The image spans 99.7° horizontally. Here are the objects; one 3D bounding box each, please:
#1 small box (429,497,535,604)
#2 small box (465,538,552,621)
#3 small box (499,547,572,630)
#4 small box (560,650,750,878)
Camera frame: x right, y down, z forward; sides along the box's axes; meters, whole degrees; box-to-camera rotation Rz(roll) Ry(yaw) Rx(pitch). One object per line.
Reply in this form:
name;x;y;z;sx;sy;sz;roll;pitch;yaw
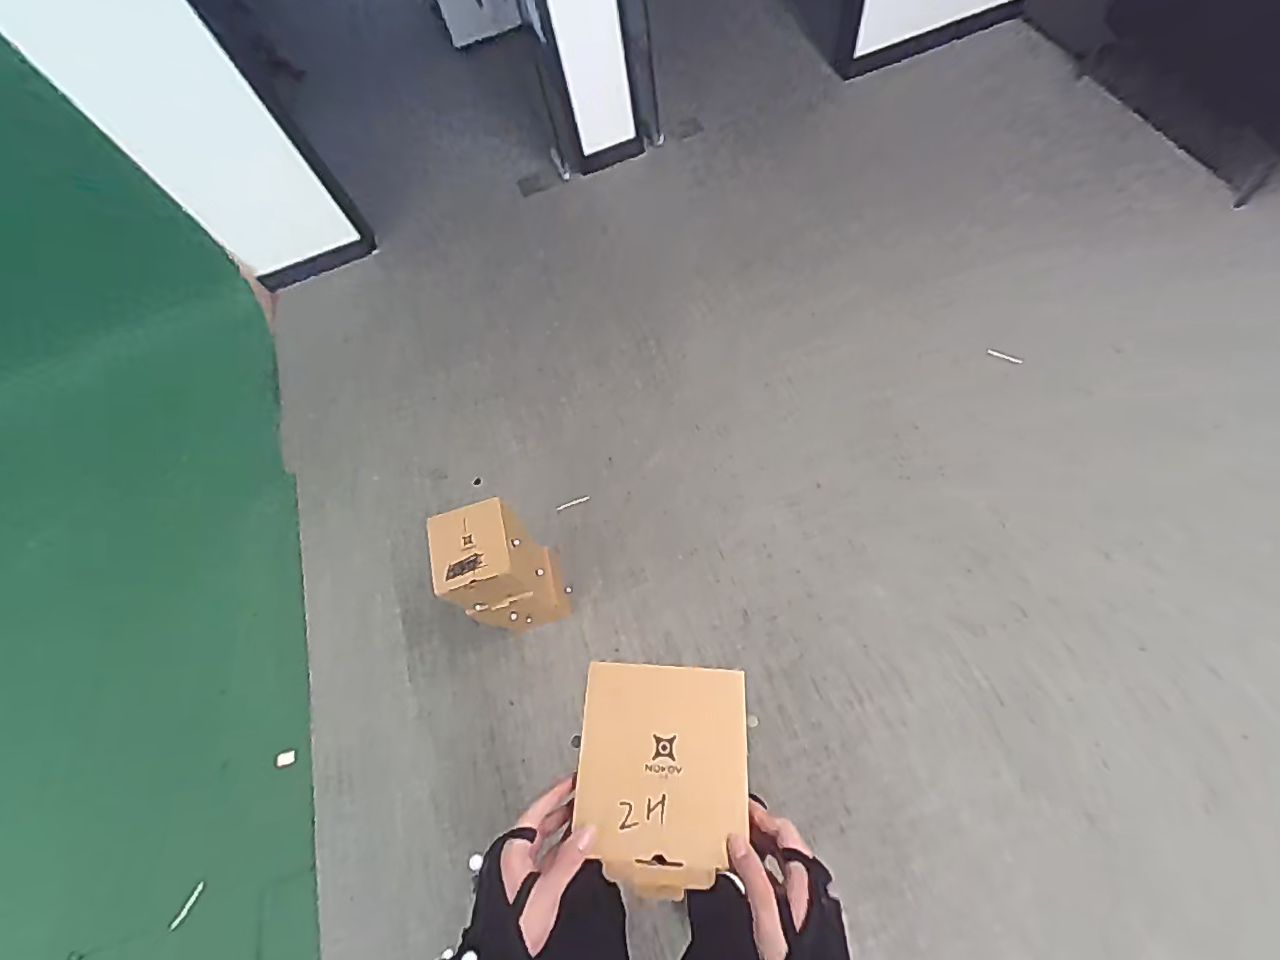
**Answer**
small box;-0.342;0.165;1.190;0.168;0.176;0.179;-17;64;1
small box;-0.327;0.242;1.336;0.168;0.176;0.179;-16;66;1
small box;-0.301;0.303;1.485;0.179;0.176;0.168;-15;65;1
small box;0.023;0.304;0.595;0.168;0.176;0.179;6;62;8
